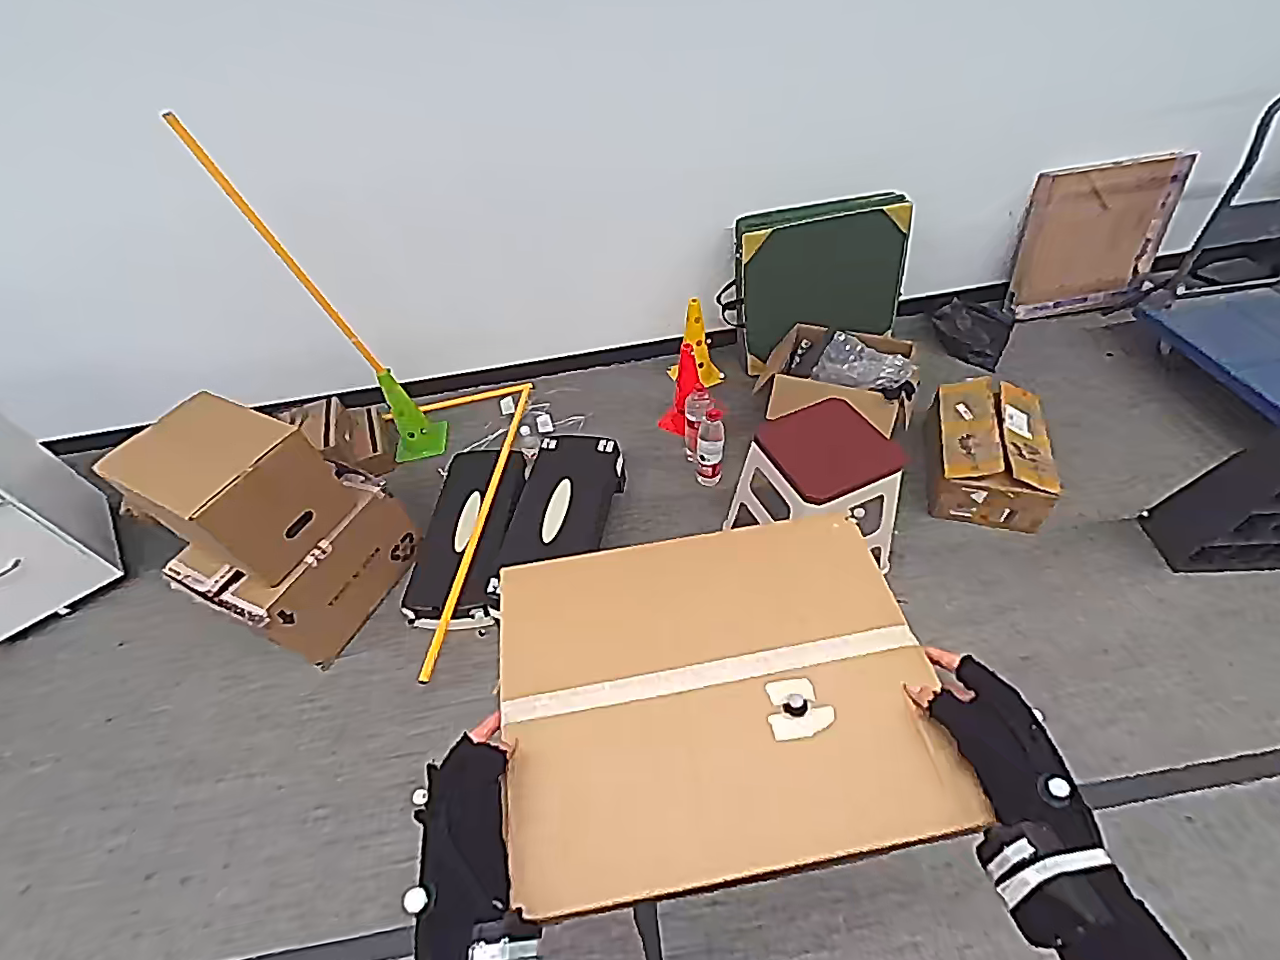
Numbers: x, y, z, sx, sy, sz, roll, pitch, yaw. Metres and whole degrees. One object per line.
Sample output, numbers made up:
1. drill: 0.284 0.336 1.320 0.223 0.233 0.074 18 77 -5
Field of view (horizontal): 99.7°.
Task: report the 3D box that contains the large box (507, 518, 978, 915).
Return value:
1. large box: 0.075 0.286 0.649 0.408 0.320 0.320 -9 51 -3
